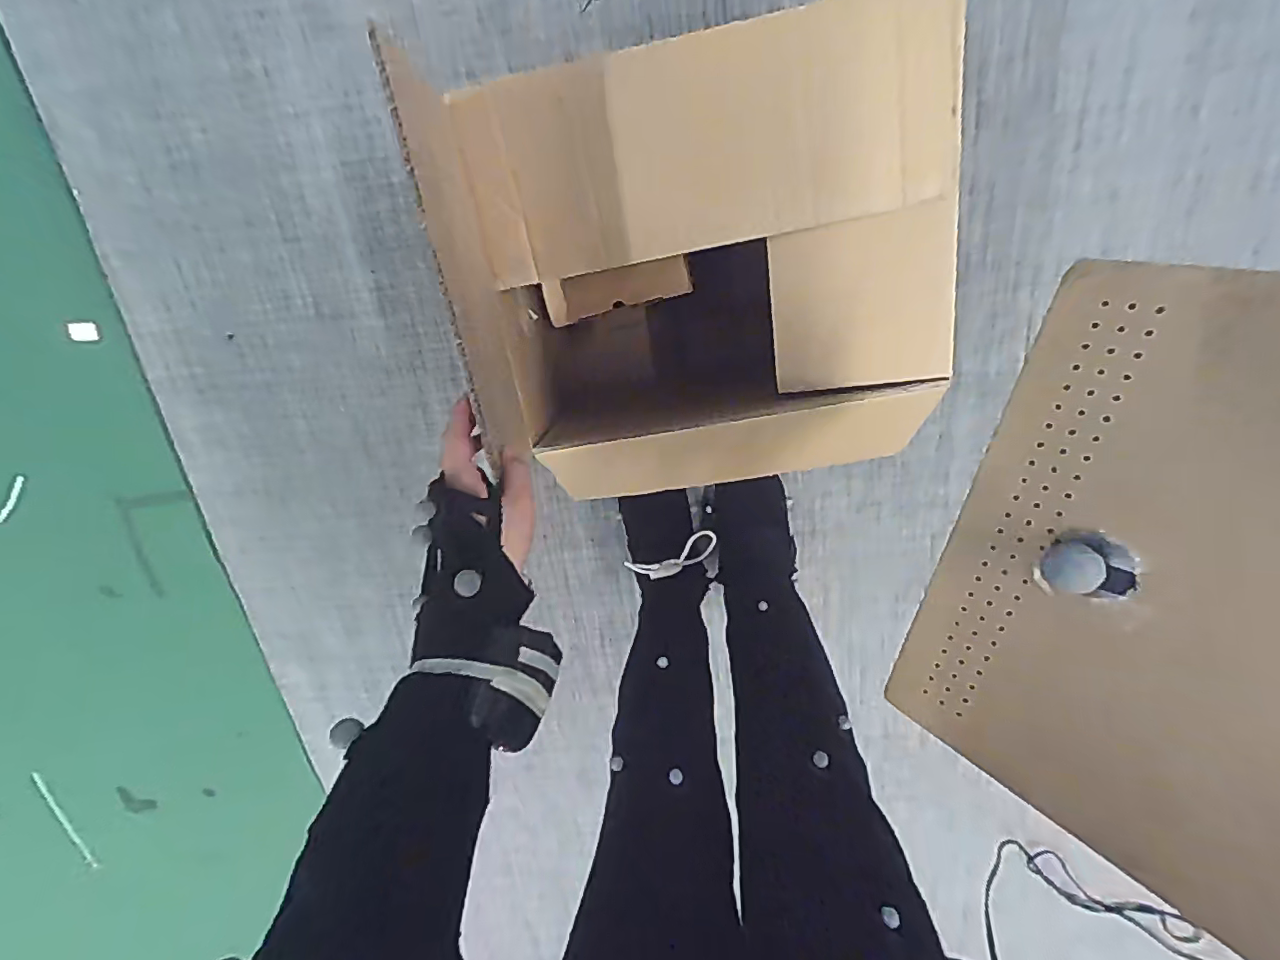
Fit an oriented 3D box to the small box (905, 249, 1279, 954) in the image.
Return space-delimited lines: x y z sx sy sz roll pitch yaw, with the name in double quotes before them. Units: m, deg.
"small box" 0.227 0.031 0.193 0.168 0.176 0.179 -6 117 -39
